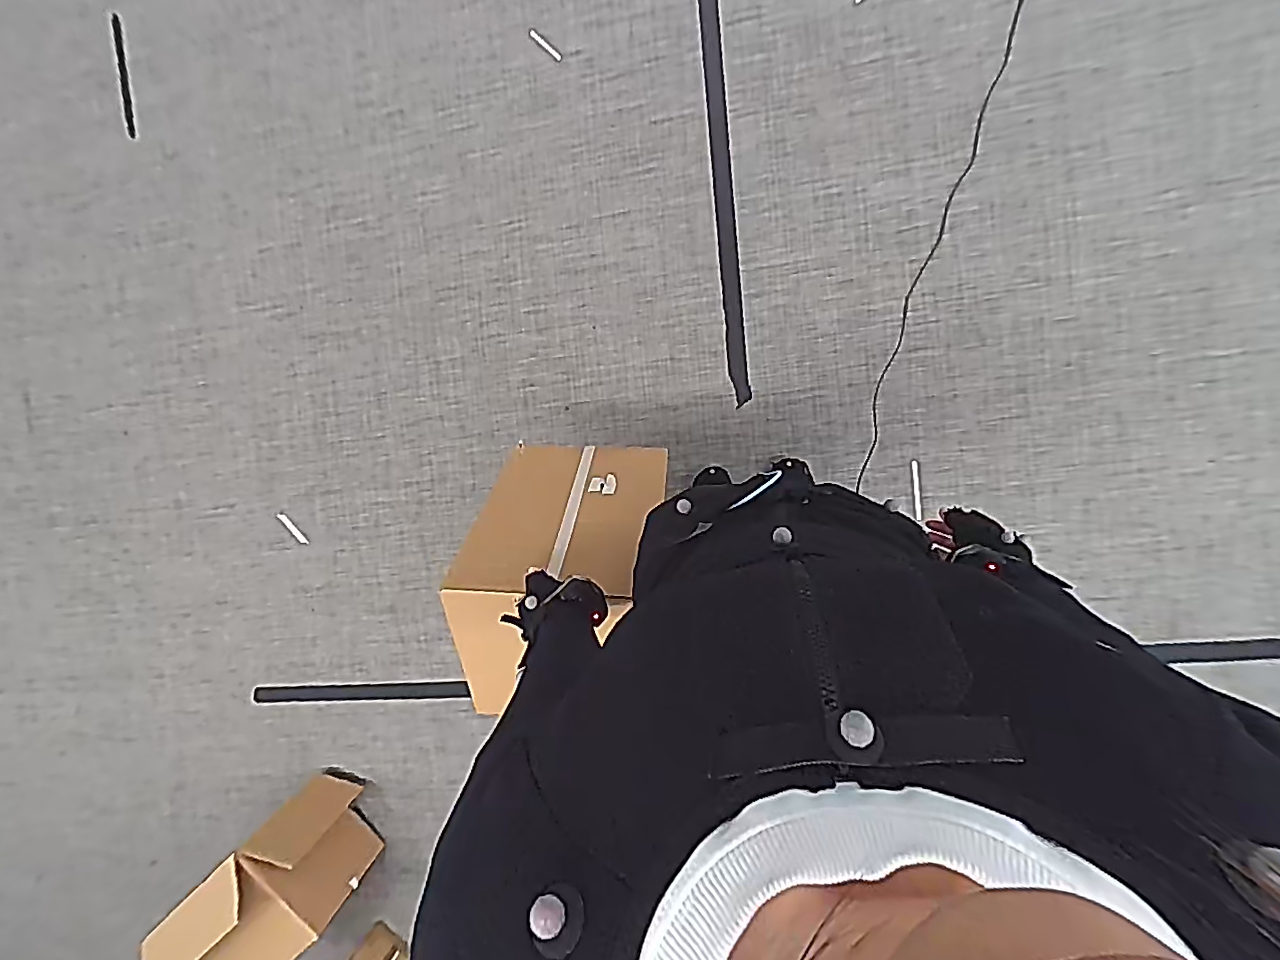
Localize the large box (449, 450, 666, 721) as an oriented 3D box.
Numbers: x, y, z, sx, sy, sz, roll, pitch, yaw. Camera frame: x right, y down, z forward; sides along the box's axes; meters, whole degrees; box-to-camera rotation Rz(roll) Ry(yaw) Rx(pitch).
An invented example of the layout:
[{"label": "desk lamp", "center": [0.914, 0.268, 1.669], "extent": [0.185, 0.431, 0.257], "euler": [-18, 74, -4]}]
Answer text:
[{"label": "large box", "center": [-0.113, 0.181, 1.011], "extent": [0.320, 0.408, 0.320], "euler": [3, 123, 3]}]
